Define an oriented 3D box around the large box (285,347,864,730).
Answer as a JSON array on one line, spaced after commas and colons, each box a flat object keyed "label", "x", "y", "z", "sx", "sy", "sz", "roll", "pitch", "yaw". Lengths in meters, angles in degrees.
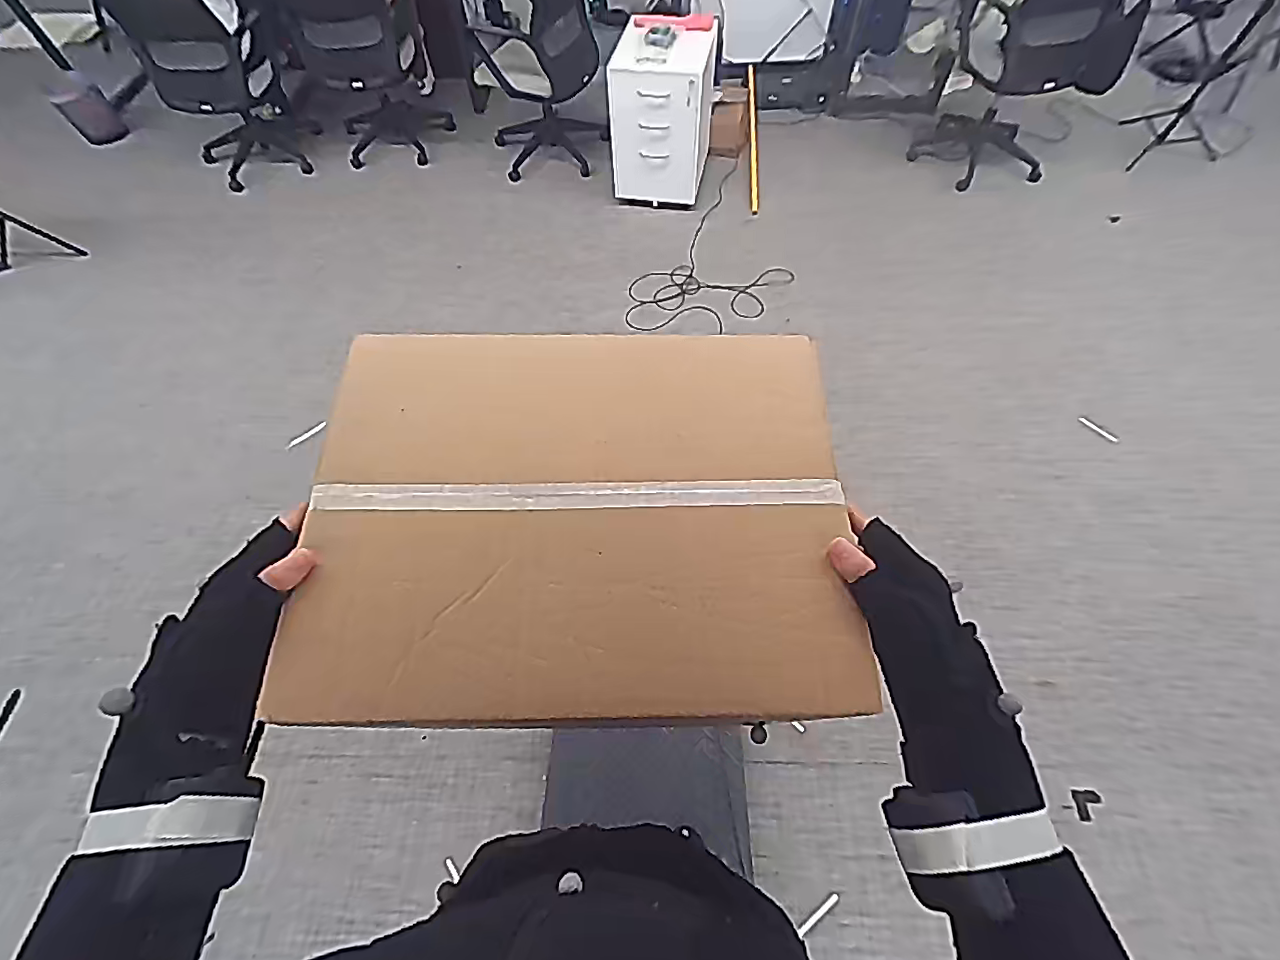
[{"label": "large box", "x": -0.047, "y": 0.083, "z": 0.563, "sx": 0.408, "sy": 0.320, "sz": 0.320, "roll": -1, "pitch": 65, "yaw": -1}]
